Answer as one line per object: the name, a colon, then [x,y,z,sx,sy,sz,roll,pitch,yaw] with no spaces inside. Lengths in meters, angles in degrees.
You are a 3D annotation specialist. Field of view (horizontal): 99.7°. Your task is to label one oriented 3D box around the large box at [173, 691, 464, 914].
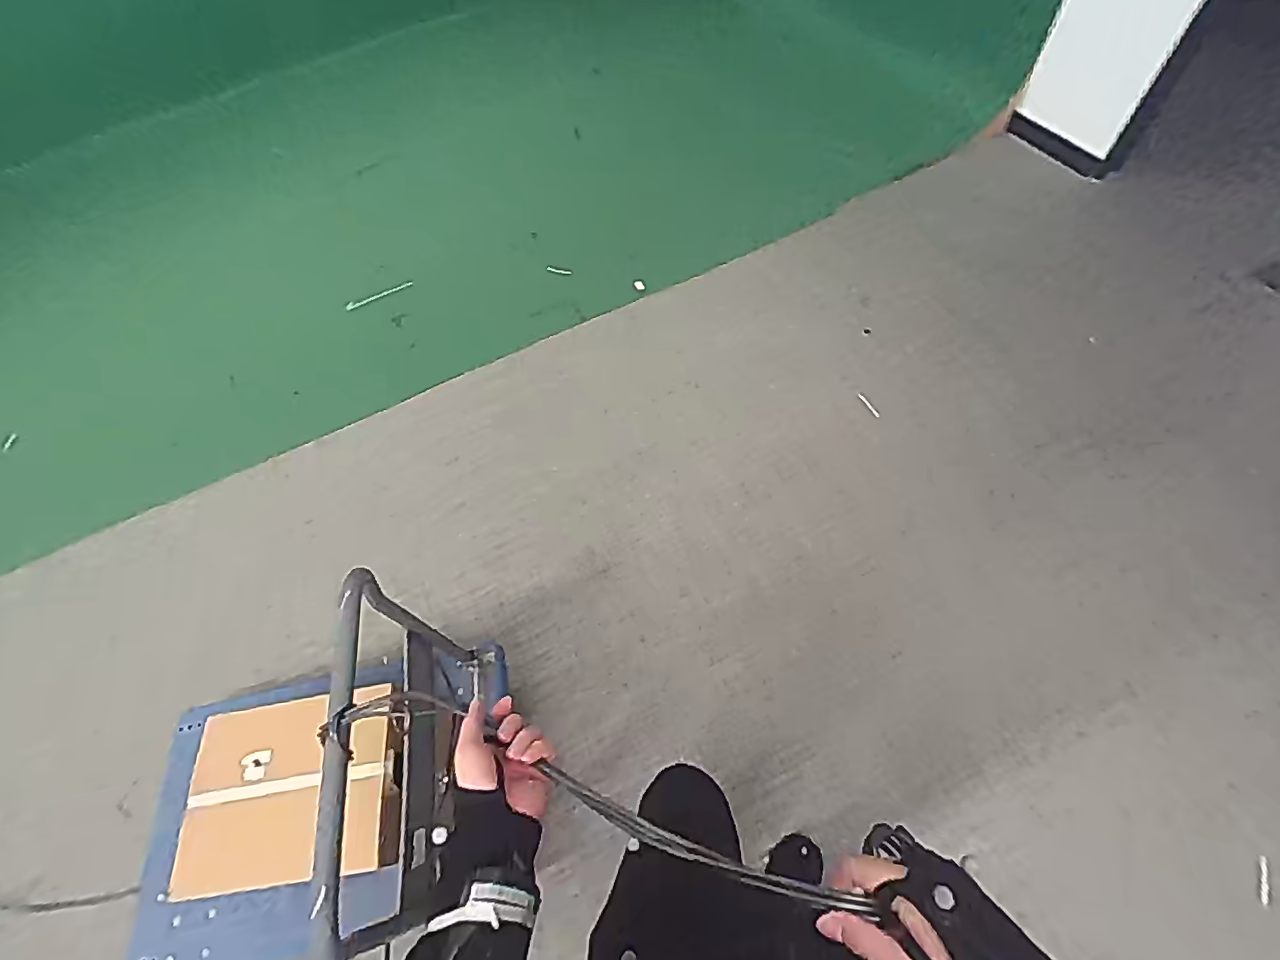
large box: [-0.623,0.655,1.133,0.408,0.320,0.320,-12,60,5]
